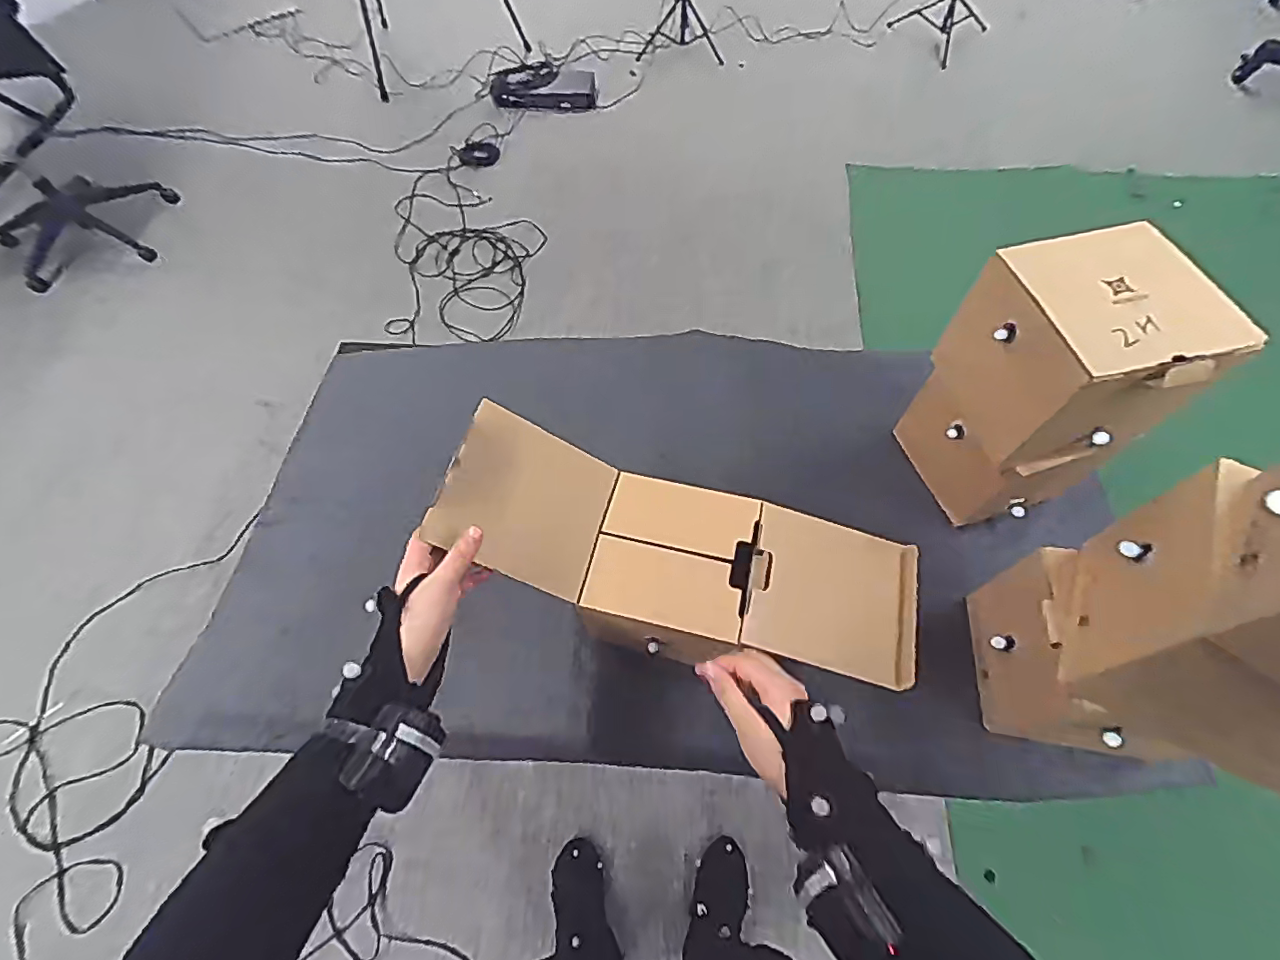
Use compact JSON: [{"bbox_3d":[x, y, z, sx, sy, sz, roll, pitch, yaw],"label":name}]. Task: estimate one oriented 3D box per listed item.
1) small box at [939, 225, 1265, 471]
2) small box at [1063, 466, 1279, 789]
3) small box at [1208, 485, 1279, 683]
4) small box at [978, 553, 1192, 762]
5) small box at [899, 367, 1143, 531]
[{"bbox_3d":[0.462,-0.135,0.583,0.168,0.176,0.179,-12,63,-1],"label":"small box"},{"bbox_3d":[0.492,0.125,0.436,0.179,0.176,0.168,27,63,16],"label":"small box"},{"bbox_3d":[0.483,0.060,0.283,0.179,0.176,0.168,36,66,21],"label":"small box"},{"bbox_3d":[0.495,0.197,0.584,0.179,0.176,0.168,7,59,7],"label":"small box"},{"bbox_3d":[0.486,-0.057,0.727,0.168,0.176,0.179,-17,63,-4],"label":"small box"}]
